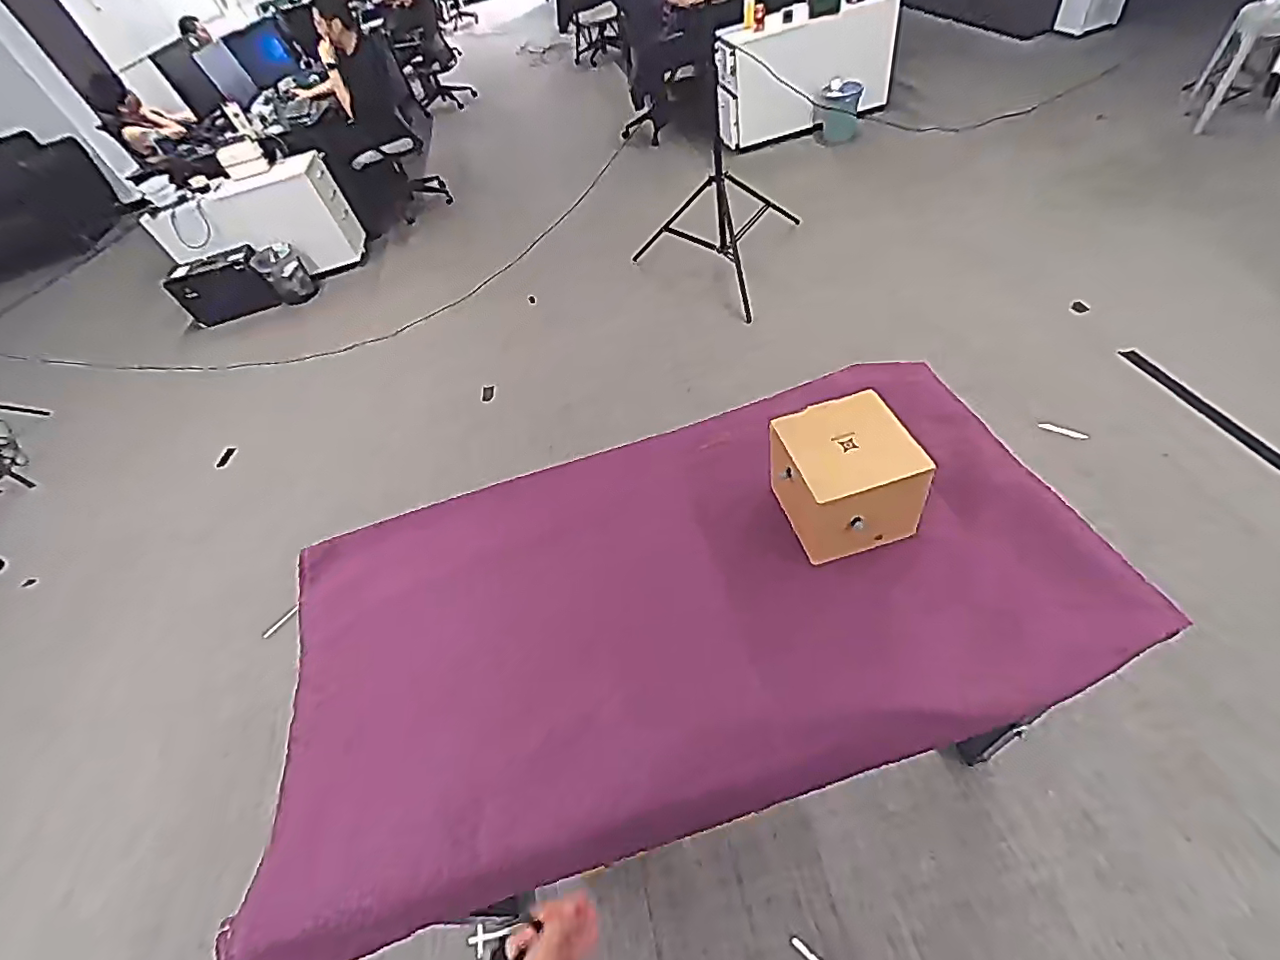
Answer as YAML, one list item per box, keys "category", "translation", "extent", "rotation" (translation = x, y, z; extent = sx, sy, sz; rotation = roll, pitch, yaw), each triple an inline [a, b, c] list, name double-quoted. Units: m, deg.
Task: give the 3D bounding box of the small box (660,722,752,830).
- category: "small box"
  translation: [0.156, 0.695, 1.258]
  extent: [0.168, 0.176, 0.179]
  rotation: [-16, 49, 0]

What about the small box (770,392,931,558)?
- category: "small box"
  translation: [0.312, 0.000, 0.834]
  extent: [0.168, 0.176, 0.179]
  rotation: [-18, 48, 1]
